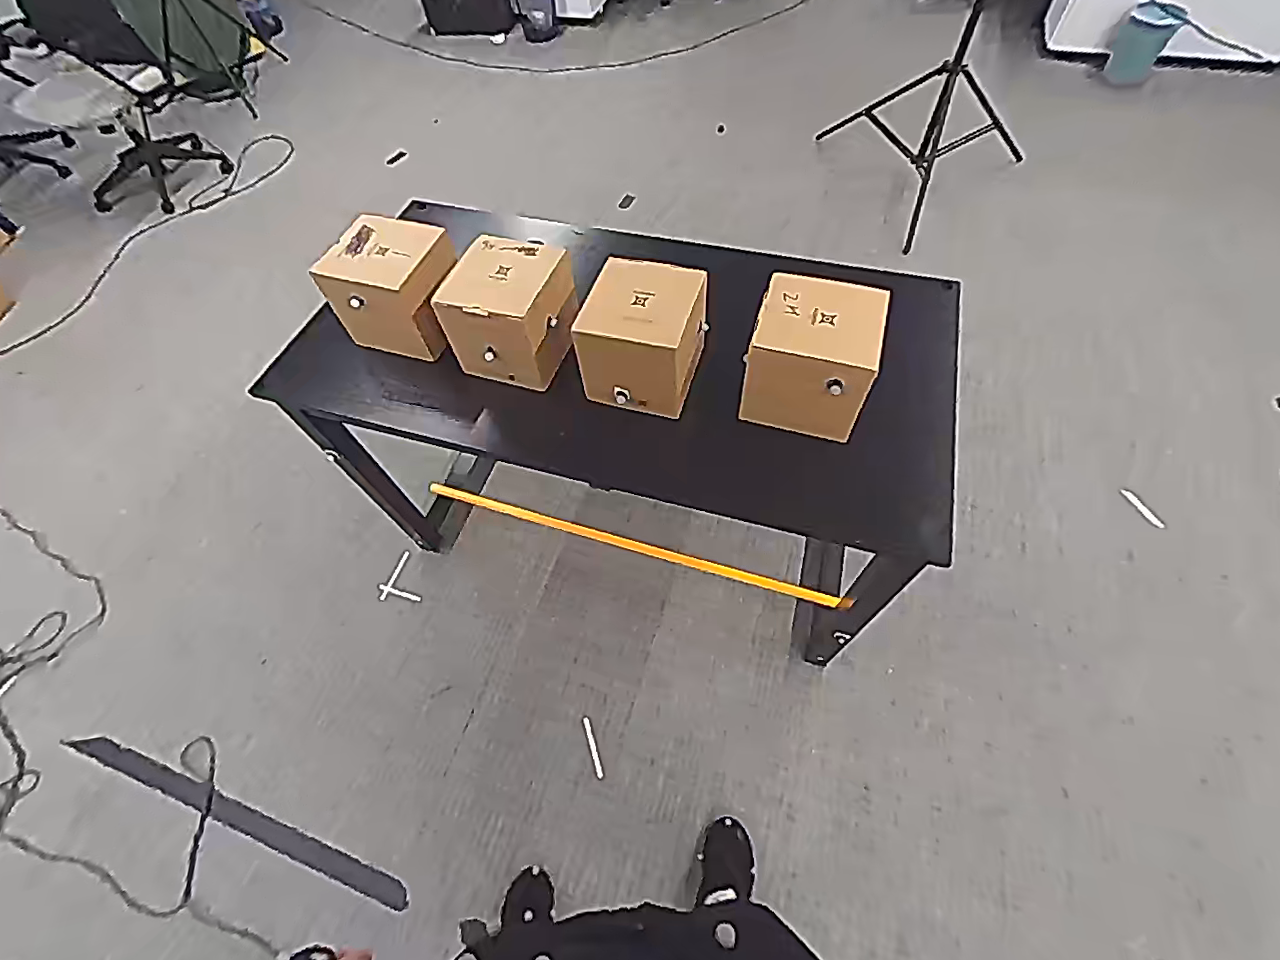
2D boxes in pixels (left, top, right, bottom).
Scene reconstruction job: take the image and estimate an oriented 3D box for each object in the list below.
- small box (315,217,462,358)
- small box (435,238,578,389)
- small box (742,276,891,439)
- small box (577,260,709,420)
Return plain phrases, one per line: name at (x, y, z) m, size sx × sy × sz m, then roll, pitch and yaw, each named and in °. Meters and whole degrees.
small box at (-0.434, -0.347, 0.990) m, size 0.179 × 0.176 × 0.168 m, roll 15°, pitch 61°, yaw 11°
small box at (-0.216, -0.284, 0.940) m, size 0.168 × 0.176 × 0.179 m, roll 15°, pitch 61°, yaw 11°
small box at (0.269, -0.186, 0.847) m, size 0.179 × 0.176 × 0.168 m, roll 15°, pitch 61°, yaw 13°
small box at (0.011, -0.228, 0.894) m, size 0.168 × 0.176 × 0.179 m, roll 13°, pitch 61°, yaw 12°
